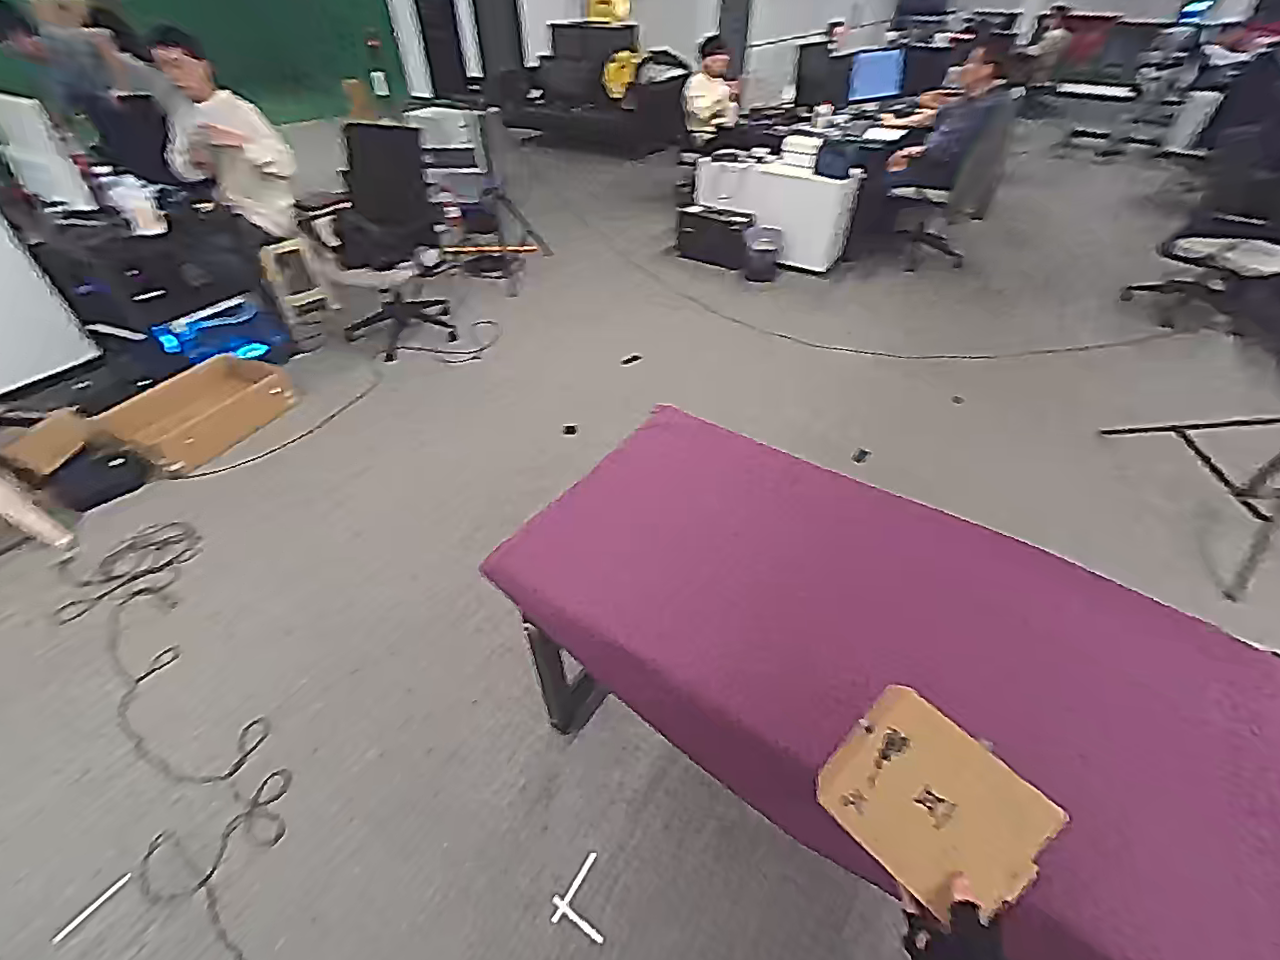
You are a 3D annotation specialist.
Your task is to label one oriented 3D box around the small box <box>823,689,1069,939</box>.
[{"bbox_3d":[0.340,0.367,0.641,0.179,0.176,0.168,39,85,26],"label":"small box"}]
